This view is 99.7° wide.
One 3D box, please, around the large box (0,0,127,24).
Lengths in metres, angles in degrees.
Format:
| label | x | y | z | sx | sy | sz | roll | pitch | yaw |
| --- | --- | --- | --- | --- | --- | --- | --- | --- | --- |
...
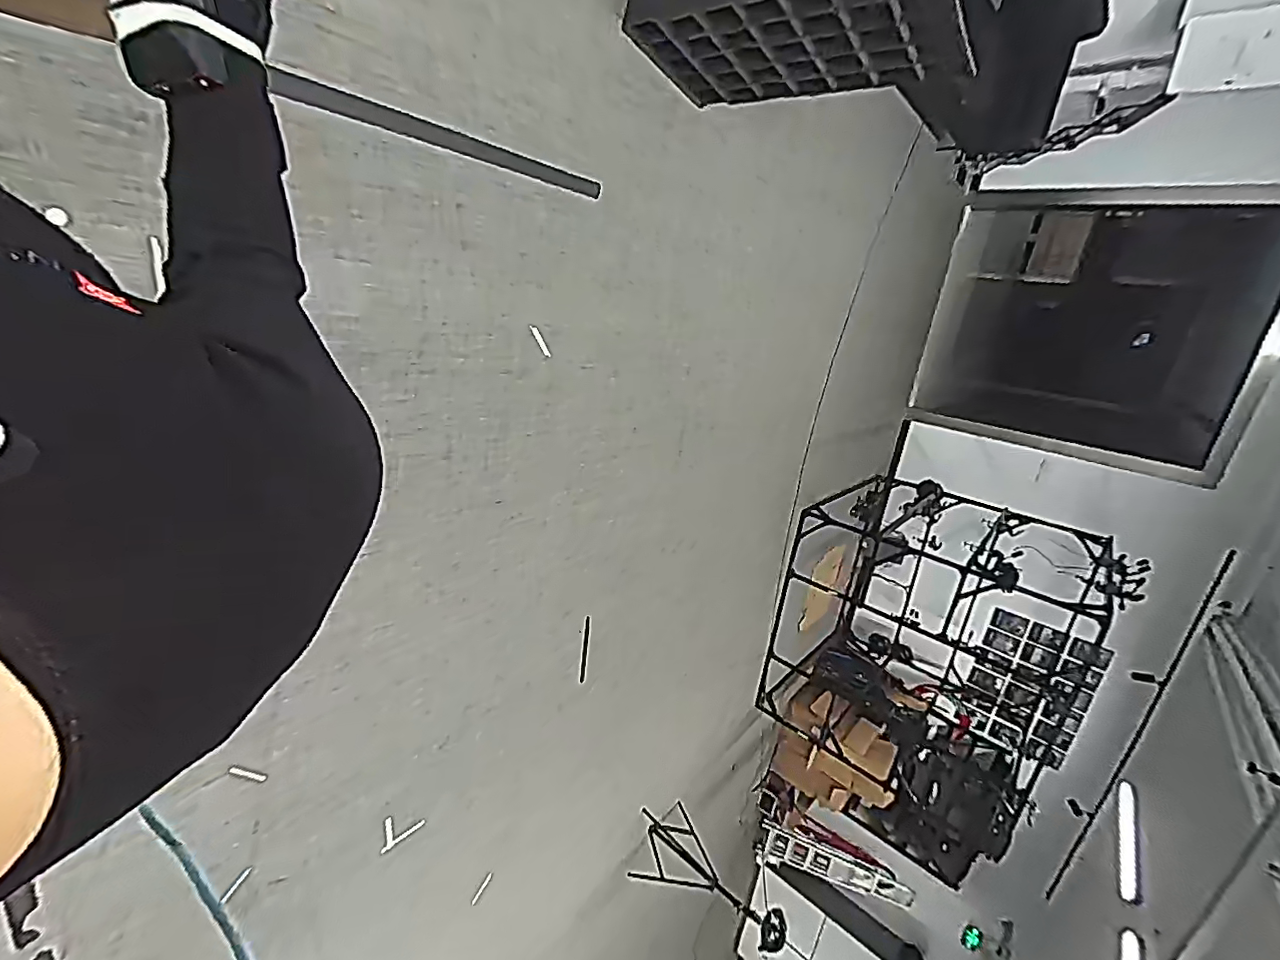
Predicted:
| label | x | y | z | sx | sy | sz | roll | pitch | yaw |
| --- | --- | --- | --- | --- | --- | --- | --- | --- | --- |
| large box | -0.546 | -0.485 | 0.250 | 0.408 | 0.320 | 0.320 | -20 | 128 | -48 |
